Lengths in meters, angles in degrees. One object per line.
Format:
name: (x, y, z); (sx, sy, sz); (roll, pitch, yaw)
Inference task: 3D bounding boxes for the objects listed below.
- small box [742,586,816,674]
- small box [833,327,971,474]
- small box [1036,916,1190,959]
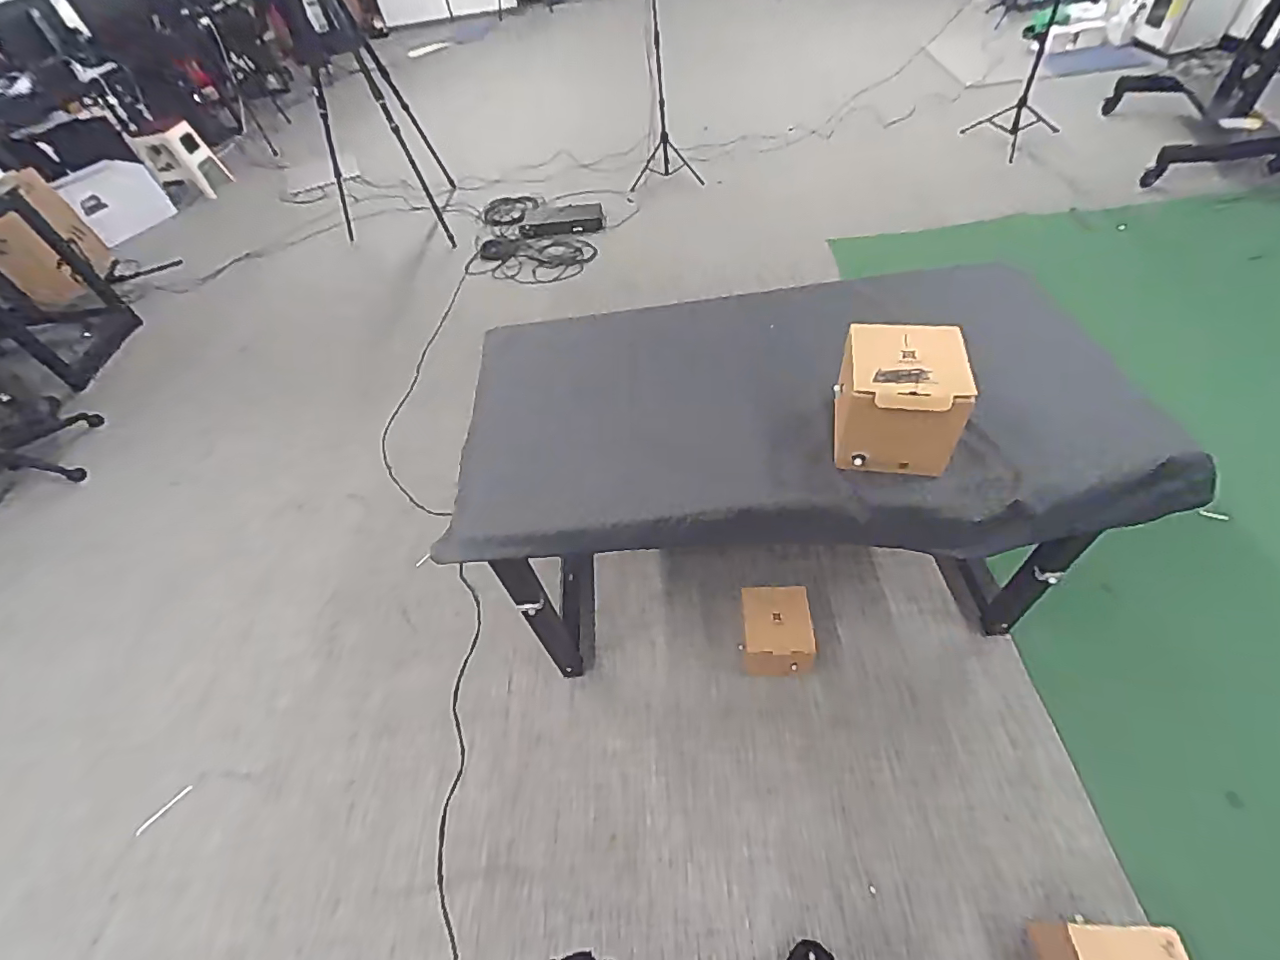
small box: (0.356, 0.397, 1.414); (0.168, 0.176, 0.179); (-3, 49, 6)
small box: (0.414, -0.129, 0.884); (0.168, 0.176, 0.179); (6, 51, 14)
small box: (0.833, 0.875, 0.944); (0.179, 0.176, 0.168); (-3, 51, 8)
